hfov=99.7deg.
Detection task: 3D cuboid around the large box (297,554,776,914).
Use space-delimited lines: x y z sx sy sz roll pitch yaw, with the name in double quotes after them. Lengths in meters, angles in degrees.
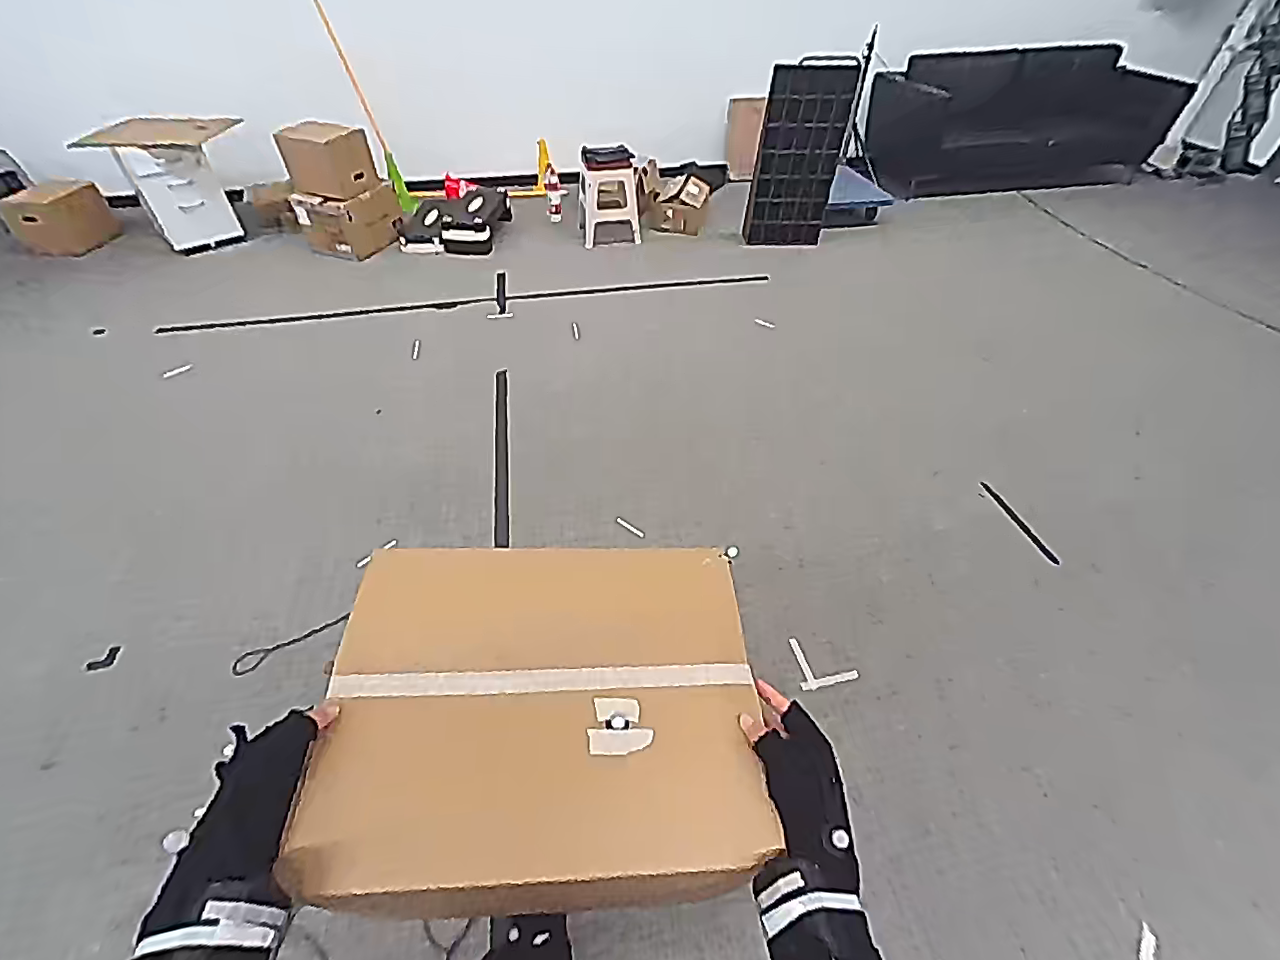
-0.101 0.303 0.654 0.408 0.320 0.320 1 49 -6 "large box"
